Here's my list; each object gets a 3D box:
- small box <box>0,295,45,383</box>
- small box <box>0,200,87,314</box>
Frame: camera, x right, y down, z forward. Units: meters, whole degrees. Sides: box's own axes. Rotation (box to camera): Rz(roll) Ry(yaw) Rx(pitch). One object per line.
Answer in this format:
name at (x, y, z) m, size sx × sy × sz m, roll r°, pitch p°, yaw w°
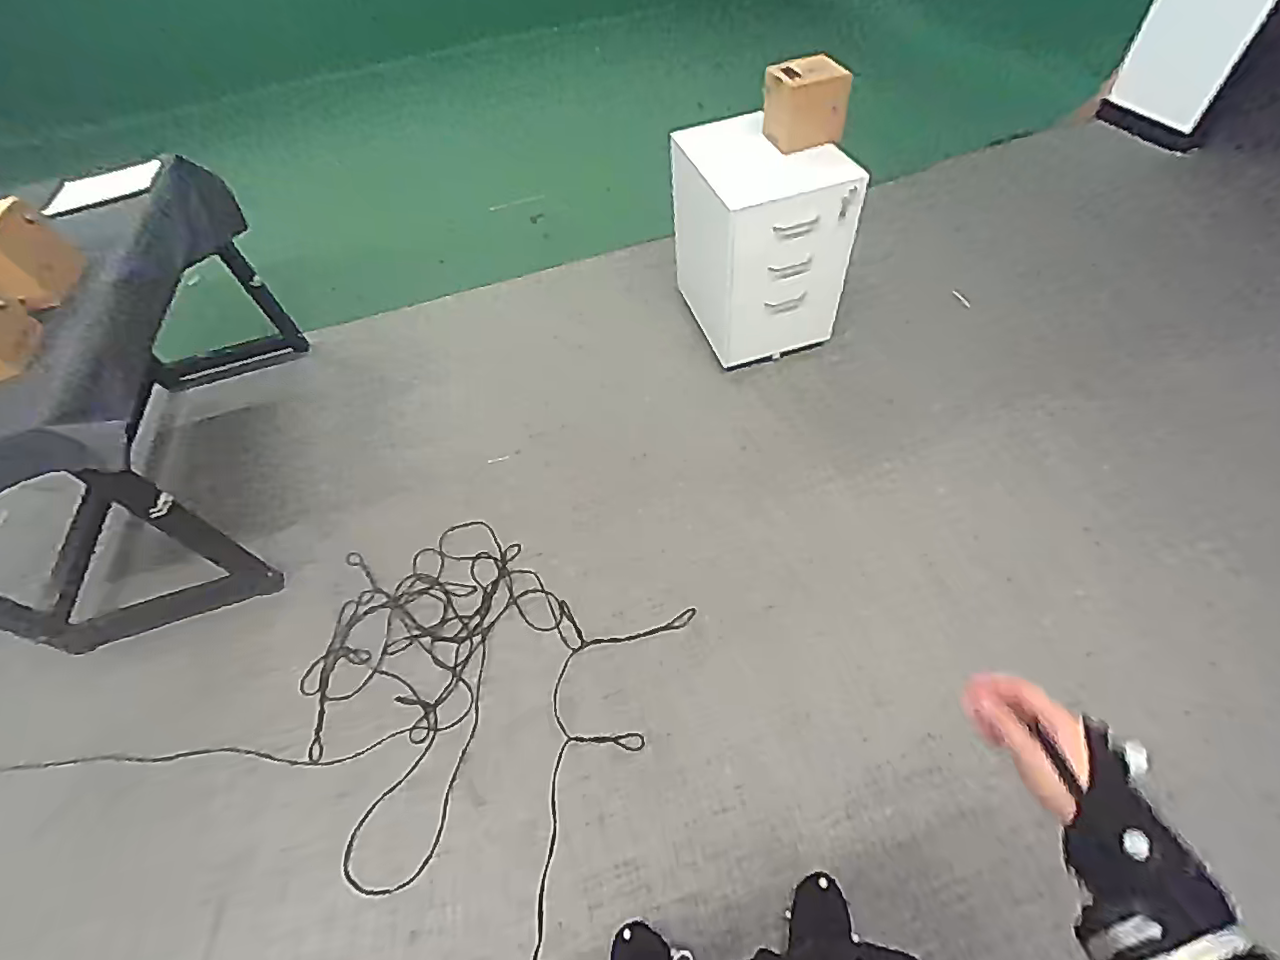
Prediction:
small box at (-1.321, -0.279, 1.033) m, size 0.179 × 0.176 × 0.168 m, roll -22°, pitch 53°, yaw -7°
small box at (-1.391, -0.477, 1.186) m, size 0.168 × 0.176 × 0.179 m, roll -15°, pitch 53°, yaw -3°
